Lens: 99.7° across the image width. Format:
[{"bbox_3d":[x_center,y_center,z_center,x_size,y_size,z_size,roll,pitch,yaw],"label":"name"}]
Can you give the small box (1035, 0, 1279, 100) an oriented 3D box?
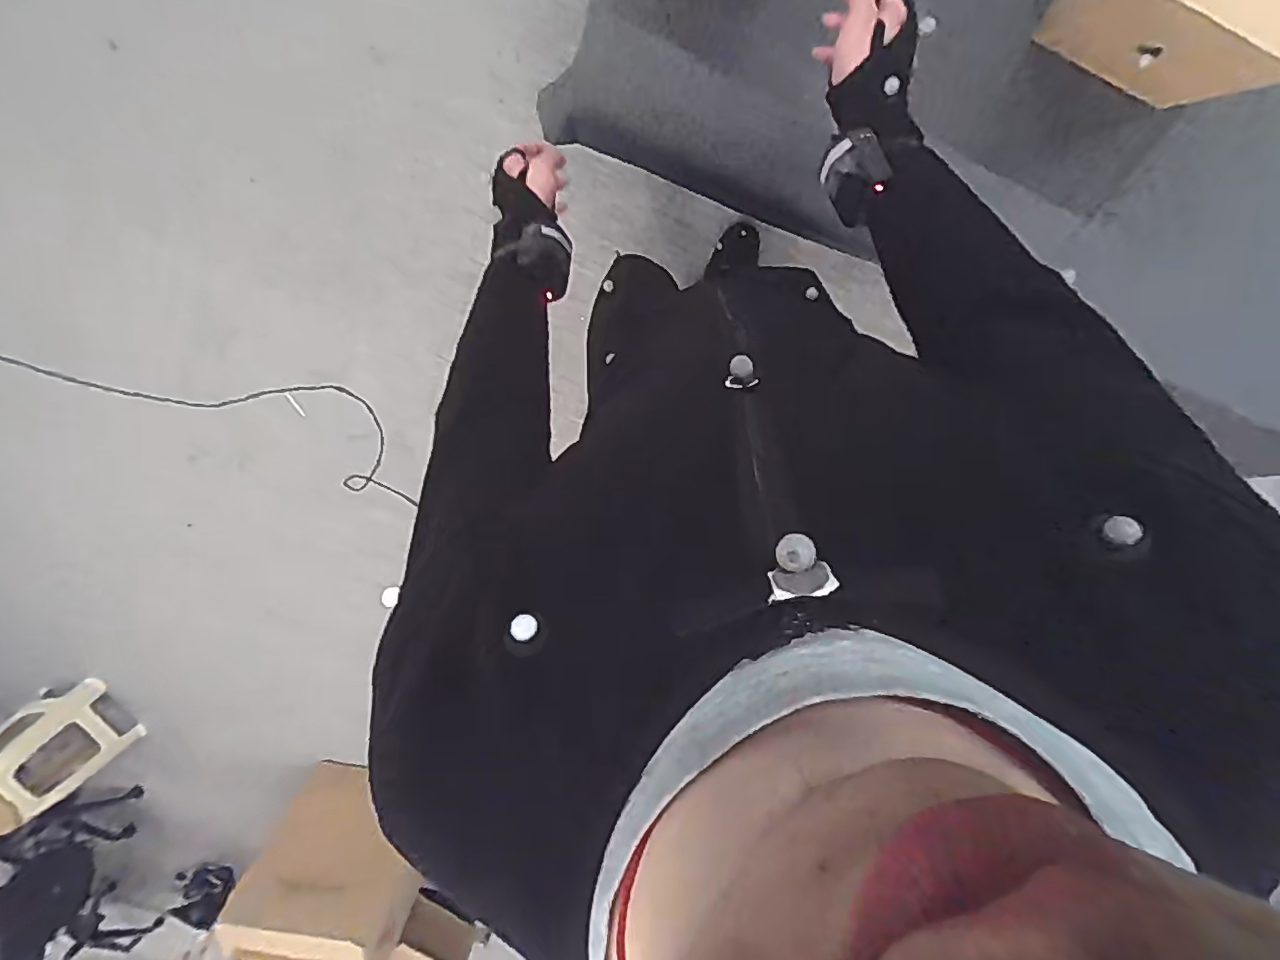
[{"bbox_3d":[0.528,-0.480,0.493,0.179,0.176,0.168,23,115,-7],"label":"small box"}]
